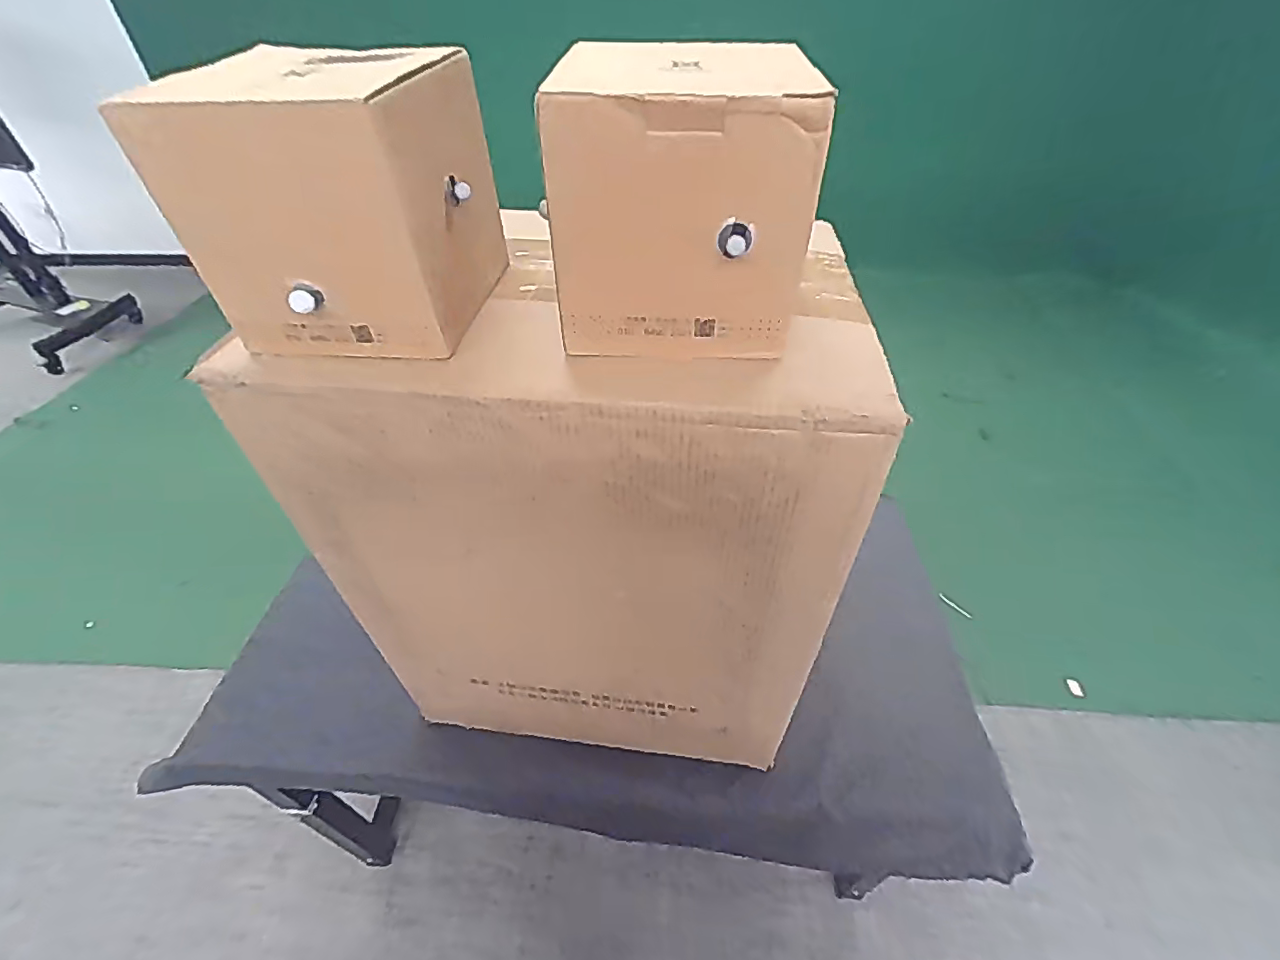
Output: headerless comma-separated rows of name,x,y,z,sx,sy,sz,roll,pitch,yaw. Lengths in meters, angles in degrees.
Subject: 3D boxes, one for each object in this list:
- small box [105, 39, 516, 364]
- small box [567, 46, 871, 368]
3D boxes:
small box,-0.202,-0.209,0.403,0.168,0.176,0.179,5,46,7
small box,0.044,-0.199,0.400,0.168,0.176,0.179,3,46,0
